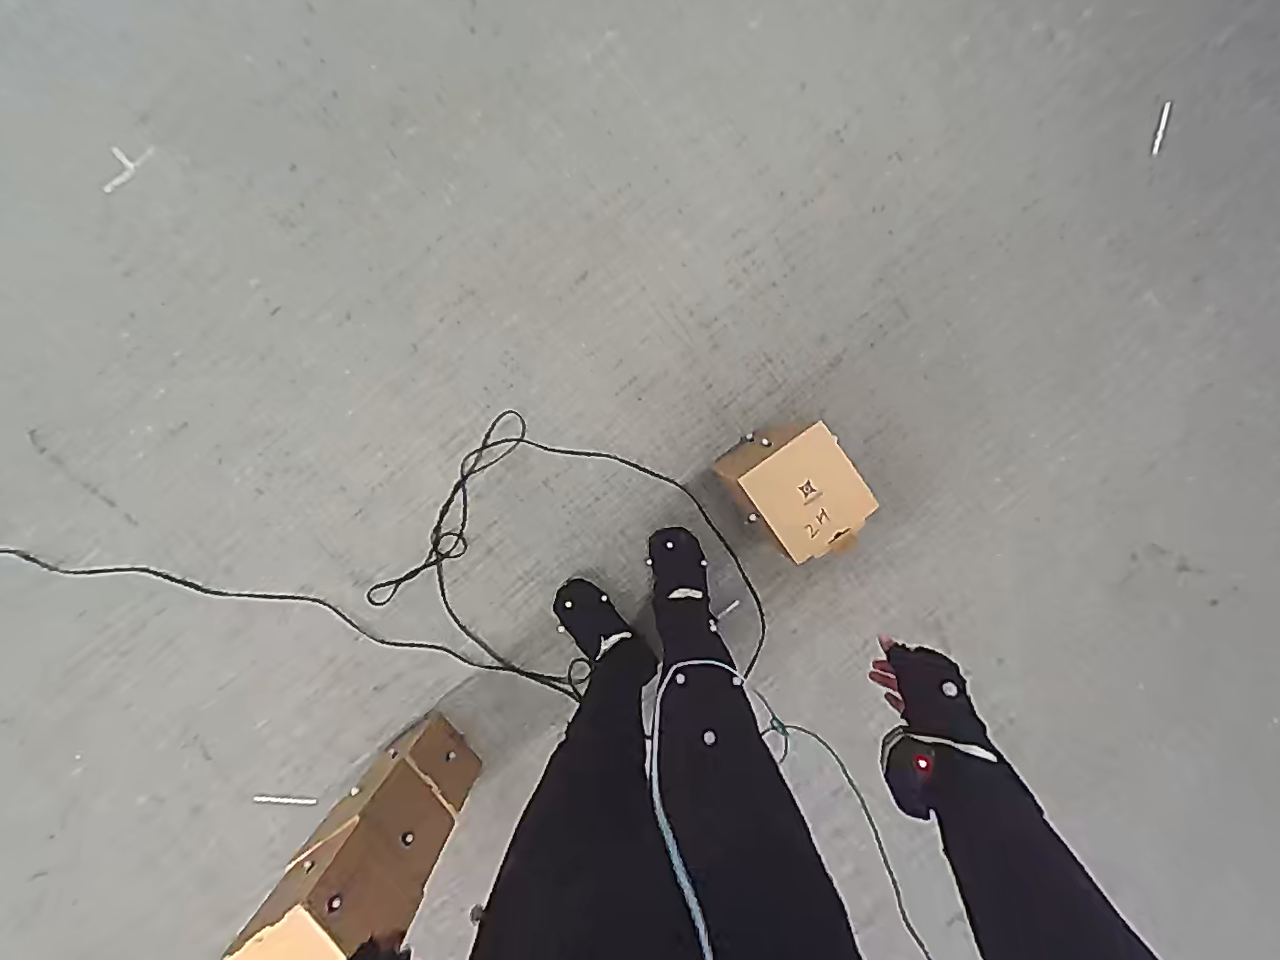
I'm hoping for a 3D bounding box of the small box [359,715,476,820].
[{"bbox_3d":[-0.474,0.647,1.159,0.179,0.176,0.168,-38,94,3],"label":"small box"}]

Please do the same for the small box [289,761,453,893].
[{"bbox_3d":[-0.479,0.667,0.995,0.168,0.176,0.179,-37,94,3],"label":"small box"}]

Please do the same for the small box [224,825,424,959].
[{"bbox_3d":[-0.473,0.691,0.834,0.168,0.176,0.179,-37,94,4],"label":"small box"}]

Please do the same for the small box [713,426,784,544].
[{"bbox_3d":[0.269,0.000,1.092,0.168,0.176,0.179,-34,95,2],"label":"small box"}]

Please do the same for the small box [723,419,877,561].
[{"bbox_3d":[0.266,0.012,0.944,0.168,0.176,0.179,-36,96,2],"label":"small box"}]
